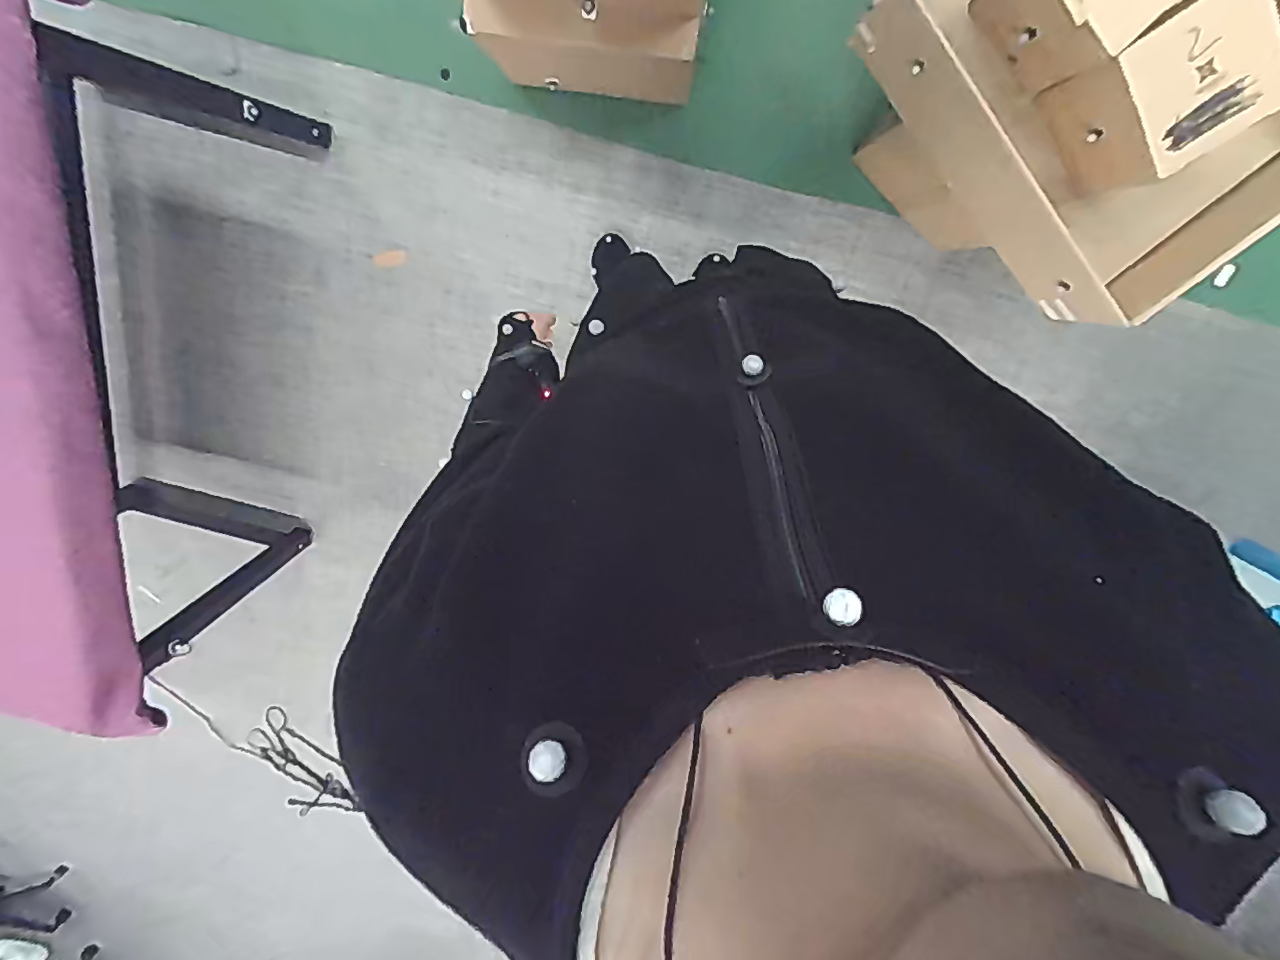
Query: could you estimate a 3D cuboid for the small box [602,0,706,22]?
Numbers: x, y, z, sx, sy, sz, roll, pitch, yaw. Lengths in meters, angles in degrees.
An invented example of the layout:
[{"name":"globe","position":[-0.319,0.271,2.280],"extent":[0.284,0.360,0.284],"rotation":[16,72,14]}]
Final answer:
[{"name":"small box","position":[0.024,-0.823,0.806],"extent":[0.179,0.176,0.168],"rotation":[8,112,1]}]
